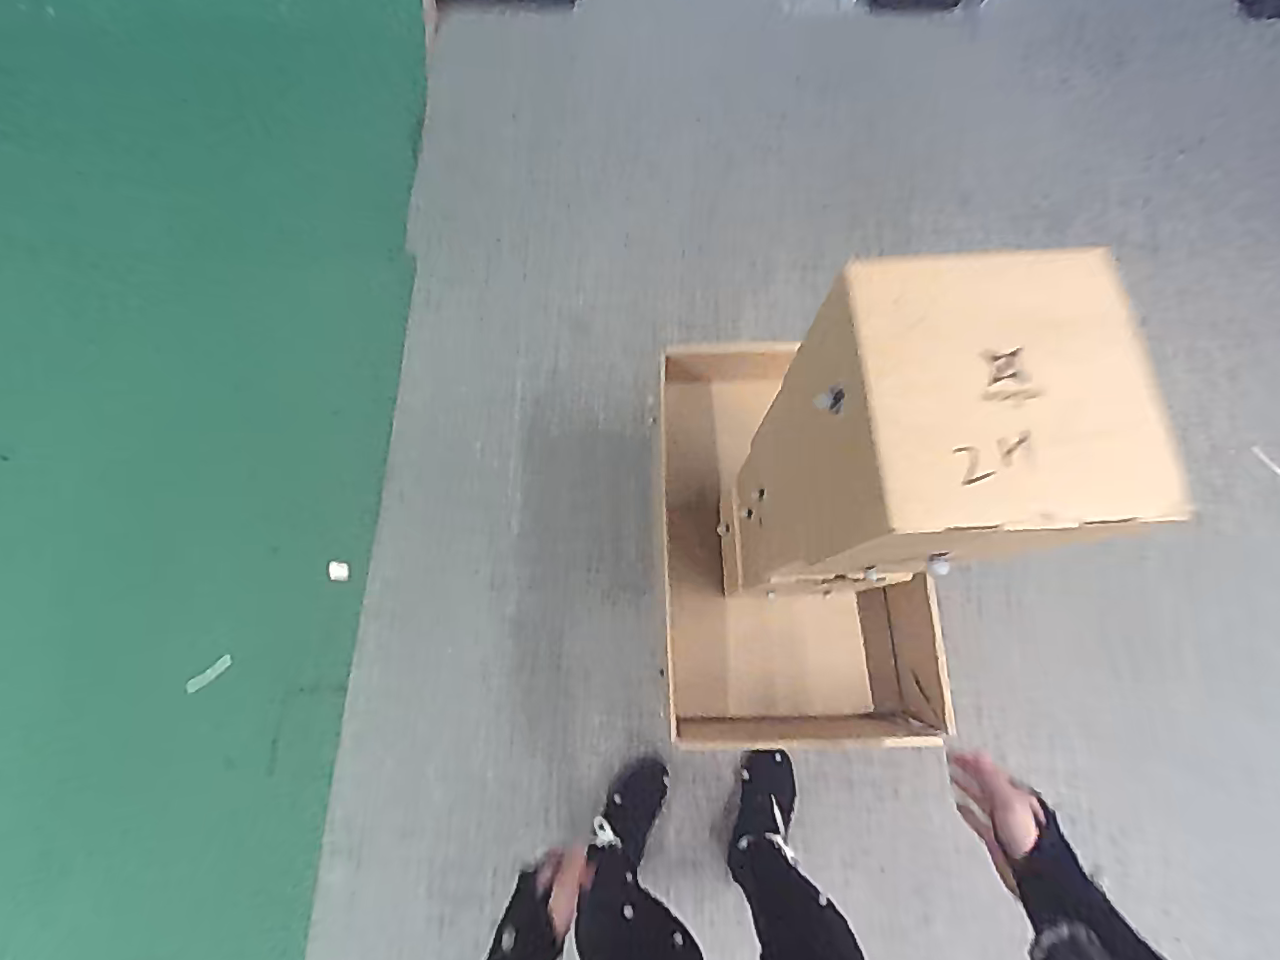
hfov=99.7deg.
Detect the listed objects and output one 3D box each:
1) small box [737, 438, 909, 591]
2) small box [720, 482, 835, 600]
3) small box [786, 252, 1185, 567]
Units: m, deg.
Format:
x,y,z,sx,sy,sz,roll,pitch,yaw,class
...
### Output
x,y,z,sx,sy,sz,roll,pitch,yaw,class
0.225,0.053,0.711,0.168,0.176,0.179,-1,74,0,small box
0.225,0.102,0.867,0.179,0.176,0.168,-2,74,0,small box
0.213,-0.037,0.394,0.168,0.176,0.179,-3,74,1,small box
